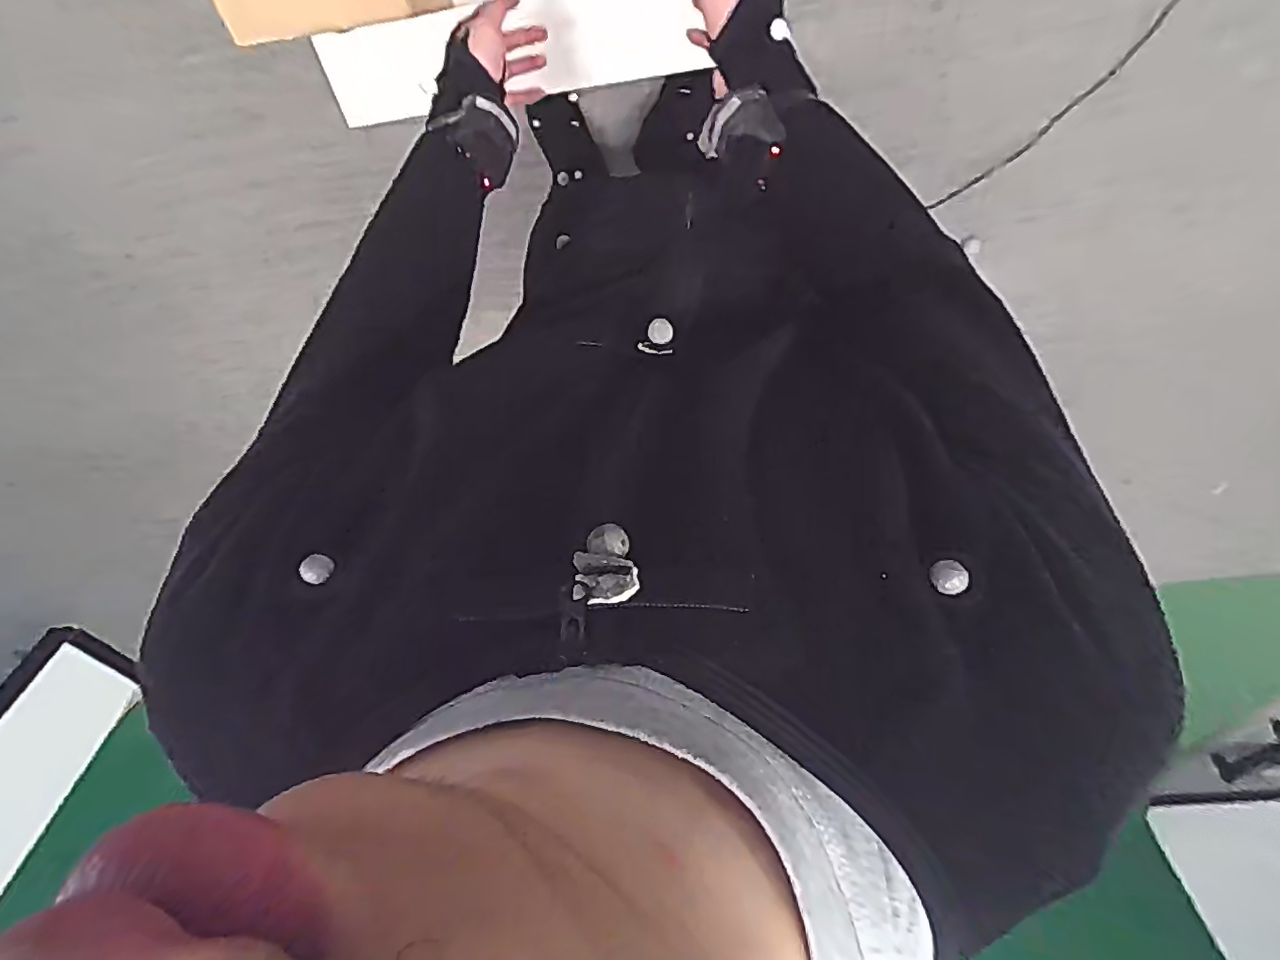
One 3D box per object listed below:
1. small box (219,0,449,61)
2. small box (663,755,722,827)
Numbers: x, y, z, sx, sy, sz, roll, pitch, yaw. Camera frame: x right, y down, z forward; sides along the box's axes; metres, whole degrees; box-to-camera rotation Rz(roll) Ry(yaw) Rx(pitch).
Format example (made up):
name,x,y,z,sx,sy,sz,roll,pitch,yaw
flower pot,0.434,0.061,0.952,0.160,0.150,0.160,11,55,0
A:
name,x,y,z,sx,sy,sz,roll,pitch,yaw
small box,-0.301,-0.524,0.515,0.179,0.176,0.168,-5,132,6
small box,0.170,1.023,1.783,0.179,0.176,0.168,-2,133,1
